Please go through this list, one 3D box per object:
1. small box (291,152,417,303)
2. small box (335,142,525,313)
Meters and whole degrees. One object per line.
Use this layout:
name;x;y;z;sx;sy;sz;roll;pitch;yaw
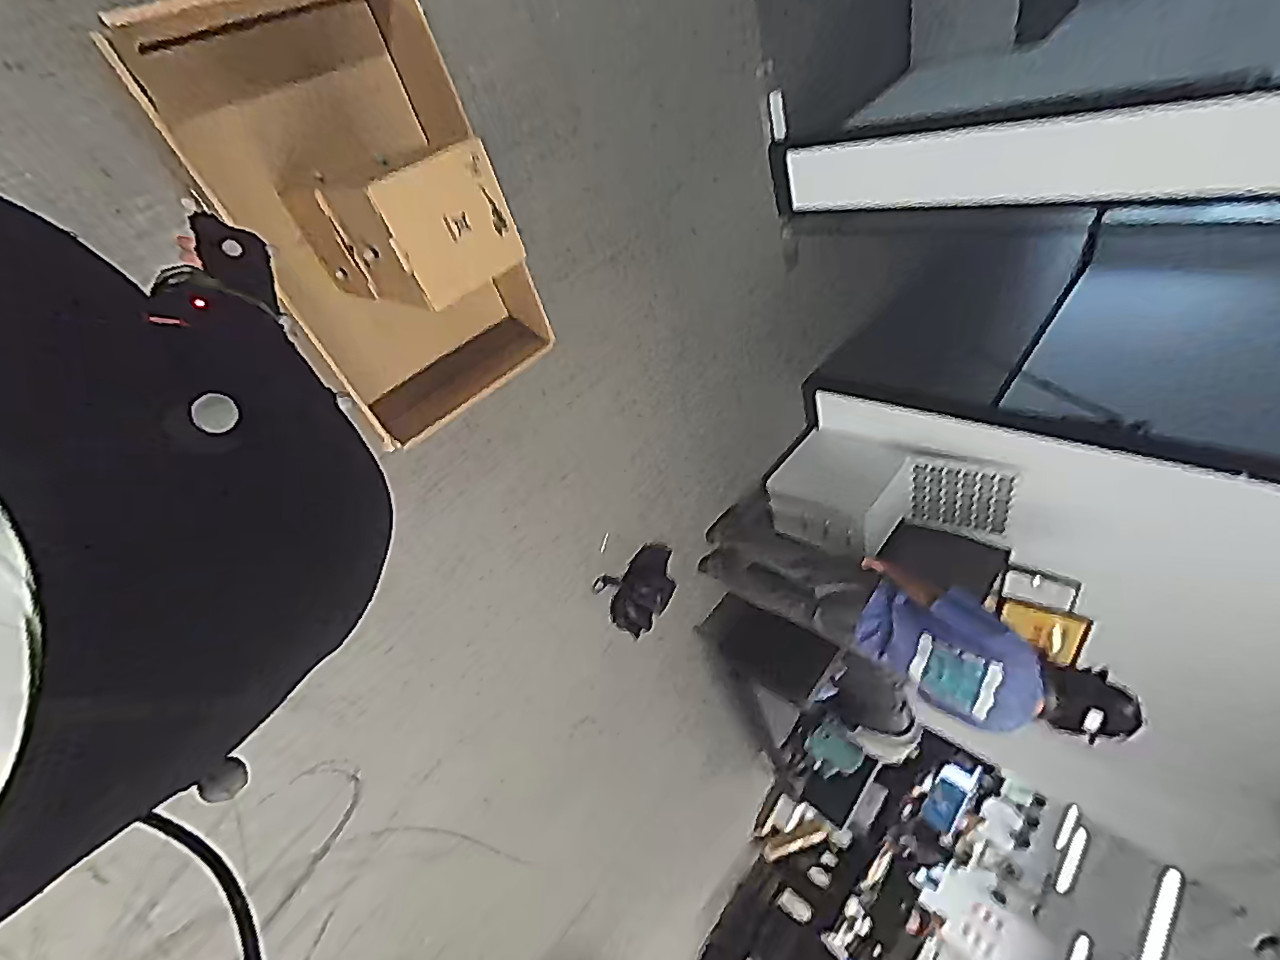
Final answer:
small box;-0.430;-0.409;0.881;0.179;0.176;0.168;-45;137;-26
small box;-0.307;-0.363;0.782;0.179;0.176;0.168;-43;136;-25
